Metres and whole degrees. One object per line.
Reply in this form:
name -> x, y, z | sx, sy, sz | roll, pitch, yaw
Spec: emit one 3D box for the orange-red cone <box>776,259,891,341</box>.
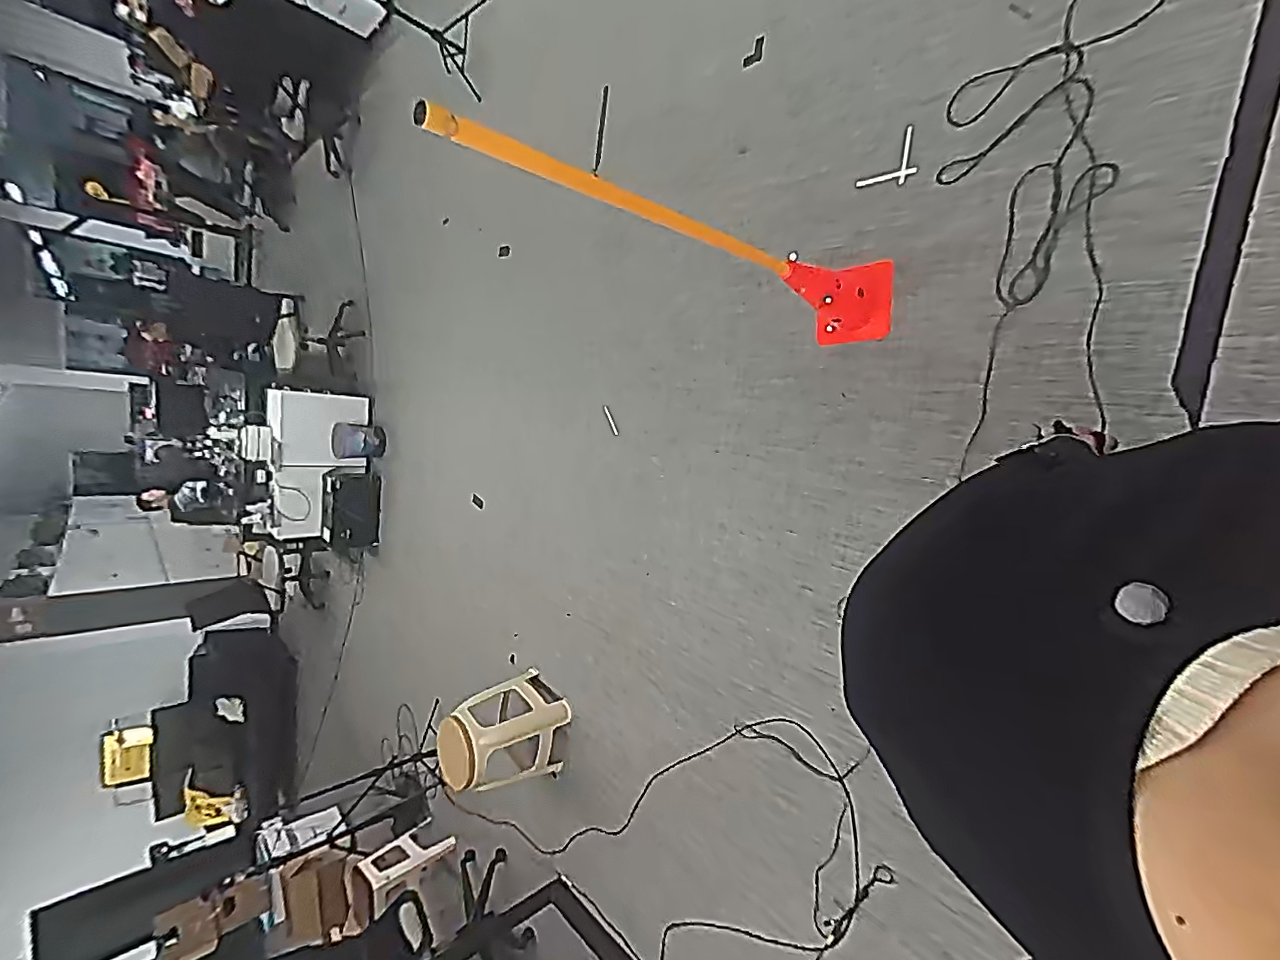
orange-red cone -> 0.440, -0.469, 1.311 | 0.199, 0.360, 0.198 | 6, 95, 44
